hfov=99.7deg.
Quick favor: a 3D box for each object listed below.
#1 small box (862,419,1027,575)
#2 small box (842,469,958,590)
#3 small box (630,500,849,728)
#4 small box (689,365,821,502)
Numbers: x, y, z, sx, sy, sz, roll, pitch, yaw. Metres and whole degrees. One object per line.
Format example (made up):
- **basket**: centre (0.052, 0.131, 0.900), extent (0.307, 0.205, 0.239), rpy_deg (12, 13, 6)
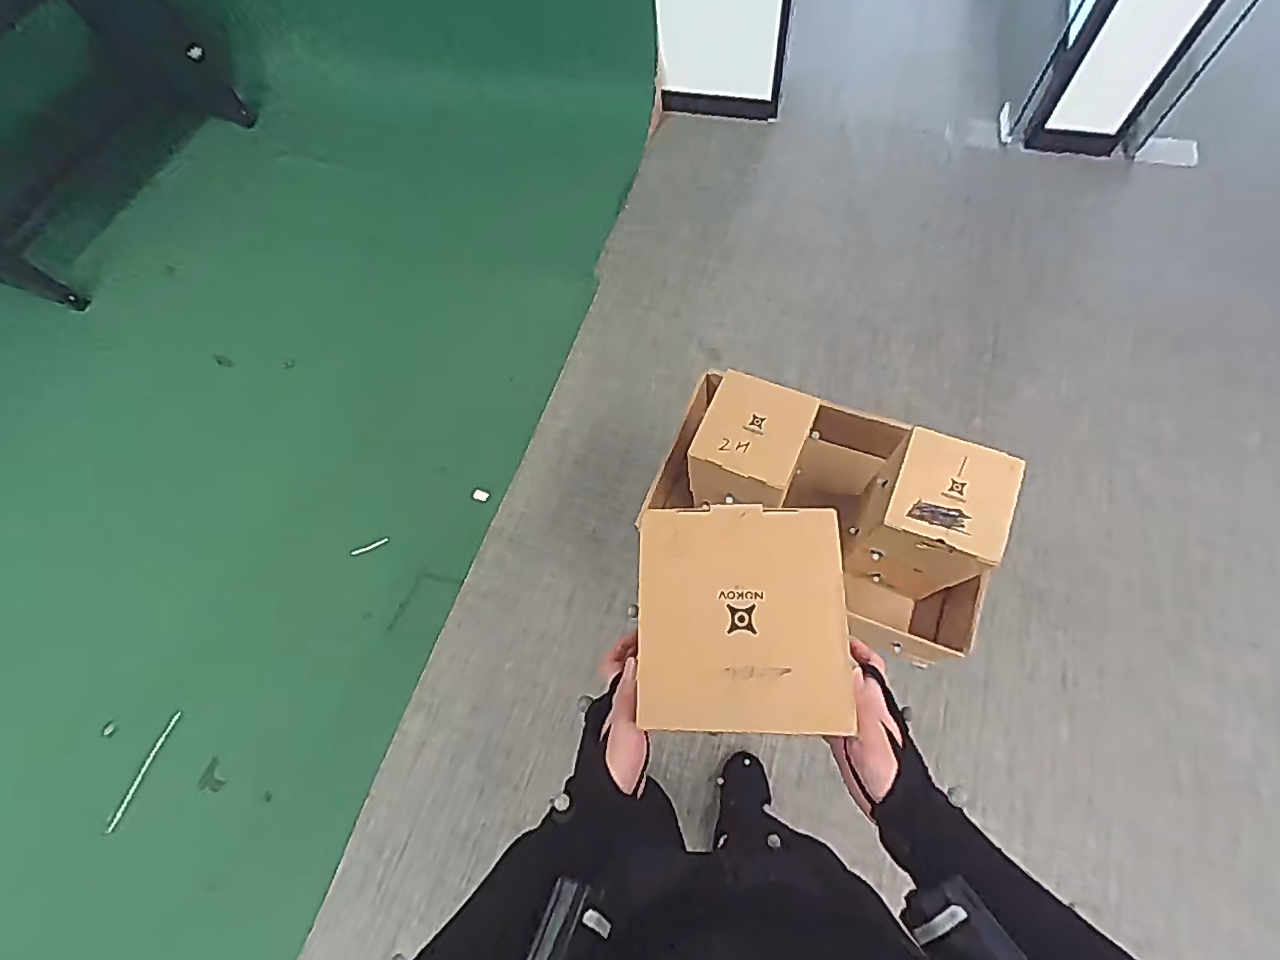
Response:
- **small box**: centre (0.474, 0.036, 0.869), extent (0.168, 0.176, 0.179), rpy_deg (21, 73, 14)
- **small box**: centre (0.499, 0.089, 1.023), extent (0.168, 0.176, 0.179), rpy_deg (20, 73, 14)
- **small box**: centre (0.083, 0.125, 0.505), extent (0.168, 0.176, 0.179), rpy_deg (-1, 72, 6)
- **small box**: centre (0.195, -0.064, 0.944), extent (0.168, 0.176, 0.179), rpy_deg (21, 73, 16)
